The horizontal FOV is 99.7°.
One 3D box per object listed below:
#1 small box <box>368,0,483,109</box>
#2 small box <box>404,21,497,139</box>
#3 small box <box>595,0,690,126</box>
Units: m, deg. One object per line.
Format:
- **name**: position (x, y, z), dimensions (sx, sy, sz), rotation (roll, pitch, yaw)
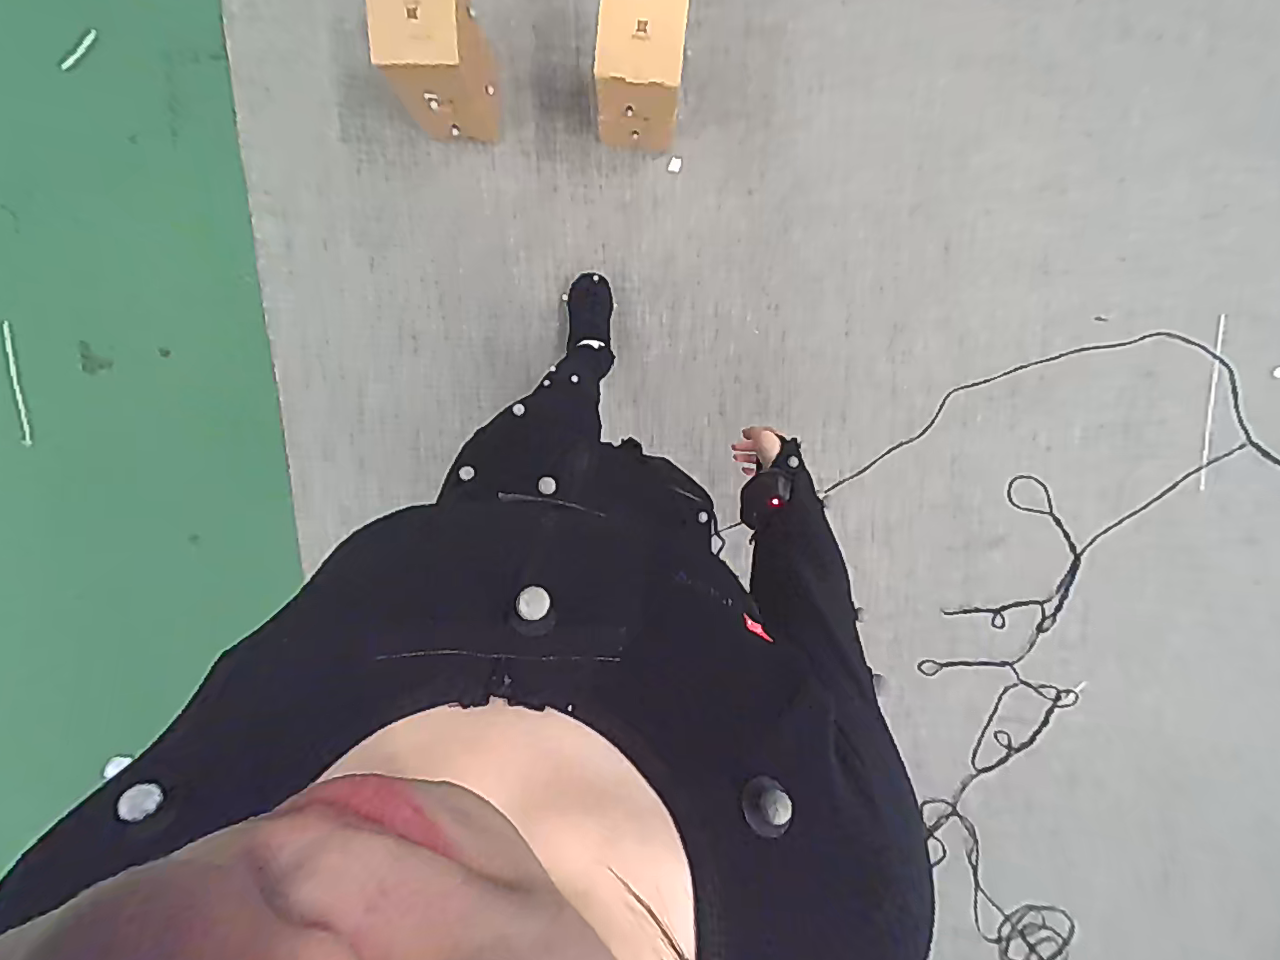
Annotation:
- **small box**: position (-0.418, -0.875, 1.072), dimensions (0.168, 0.176, 0.179), rotation (-1, 101, 0)
- **small box**: position (-0.425, -0.906, 1.232), dimensions (0.168, 0.176, 0.179), rotation (2, 101, -2)
- **small box**: position (0.001, -0.854, 1.088), dimensions (0.168, 0.176, 0.179), rotation (6, 101, -3)
